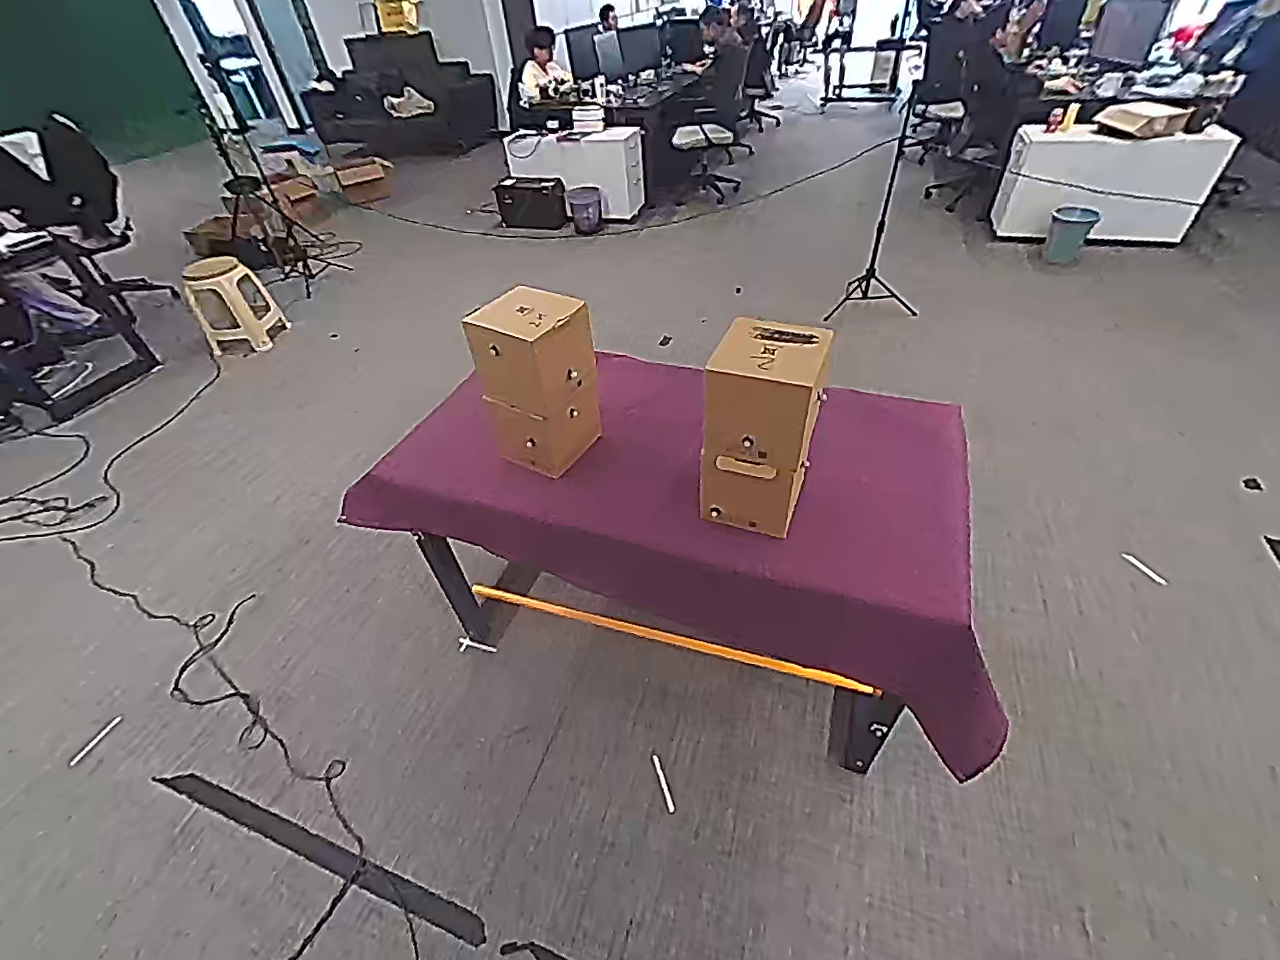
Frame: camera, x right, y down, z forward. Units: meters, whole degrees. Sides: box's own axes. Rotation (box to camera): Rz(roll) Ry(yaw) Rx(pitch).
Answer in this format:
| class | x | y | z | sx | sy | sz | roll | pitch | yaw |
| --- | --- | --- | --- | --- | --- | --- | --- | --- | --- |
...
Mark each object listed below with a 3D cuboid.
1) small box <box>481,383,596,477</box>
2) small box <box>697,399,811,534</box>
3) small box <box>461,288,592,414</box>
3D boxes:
| class | x | y | z | sx | sy | sz | roll | pitch | yaw |
| --- | --- | --- | --- | --- | --- | --- | --- | --- | --- |
| small box | -0.209 | -0.134 | 1.176 | 0.168 | 0.176 | 0.179 | 21 | 49 | 24 |
| small box | 0.213 | -0.024 | 1.015 | 0.168 | 0.176 | 0.179 | 14 | 45 | 19 |
| small box | -0.214 | -0.252 | 1.062 | 0.179 | 0.176 | 0.168 | 22 | 50 | 24 |
